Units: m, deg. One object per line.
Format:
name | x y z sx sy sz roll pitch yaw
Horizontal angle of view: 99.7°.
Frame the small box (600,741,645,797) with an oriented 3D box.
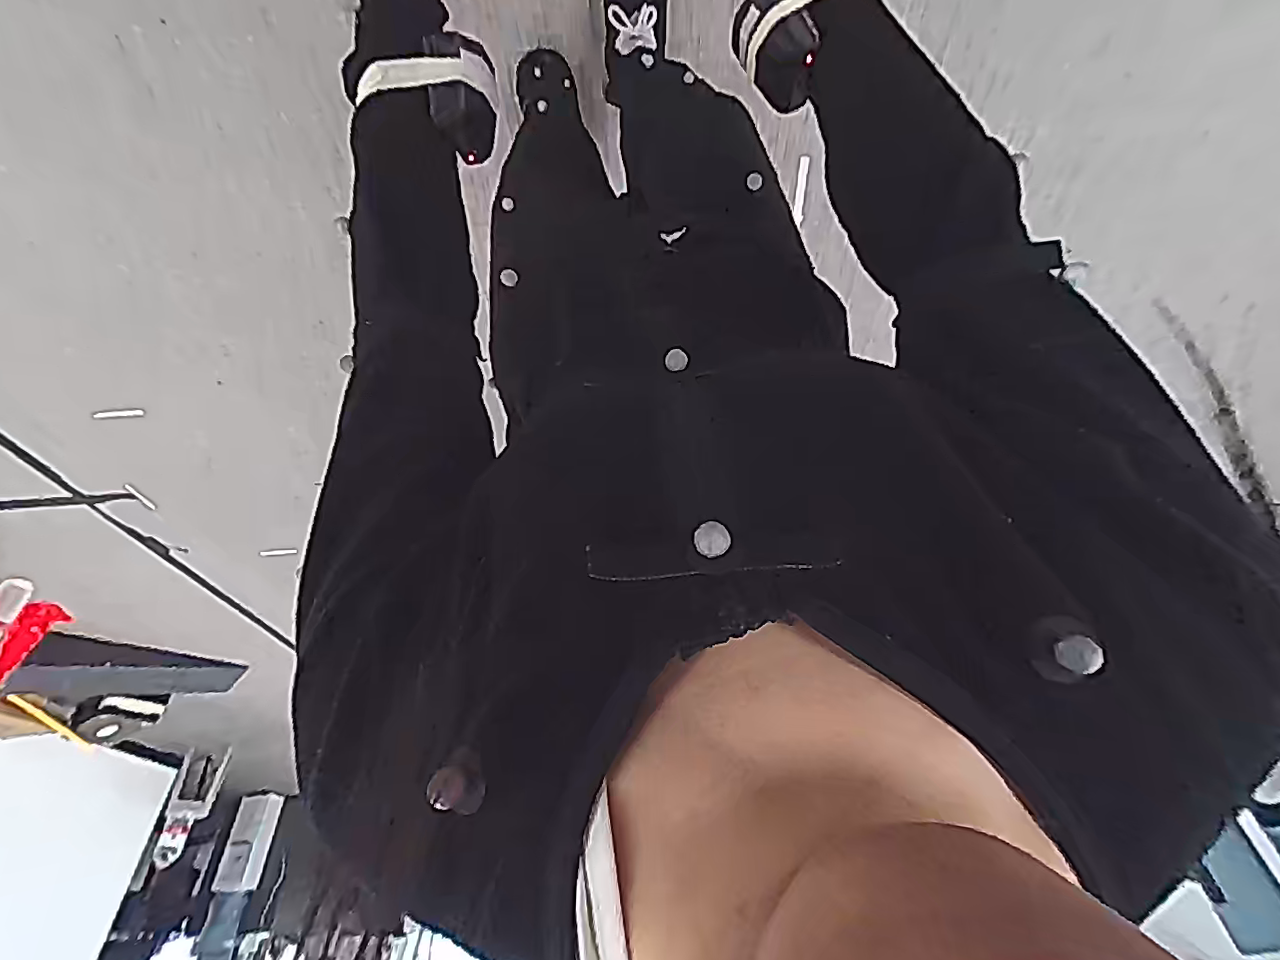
small box | -0.070 1.157 2.176 0.168 0.176 0.179 -4 141 -1
